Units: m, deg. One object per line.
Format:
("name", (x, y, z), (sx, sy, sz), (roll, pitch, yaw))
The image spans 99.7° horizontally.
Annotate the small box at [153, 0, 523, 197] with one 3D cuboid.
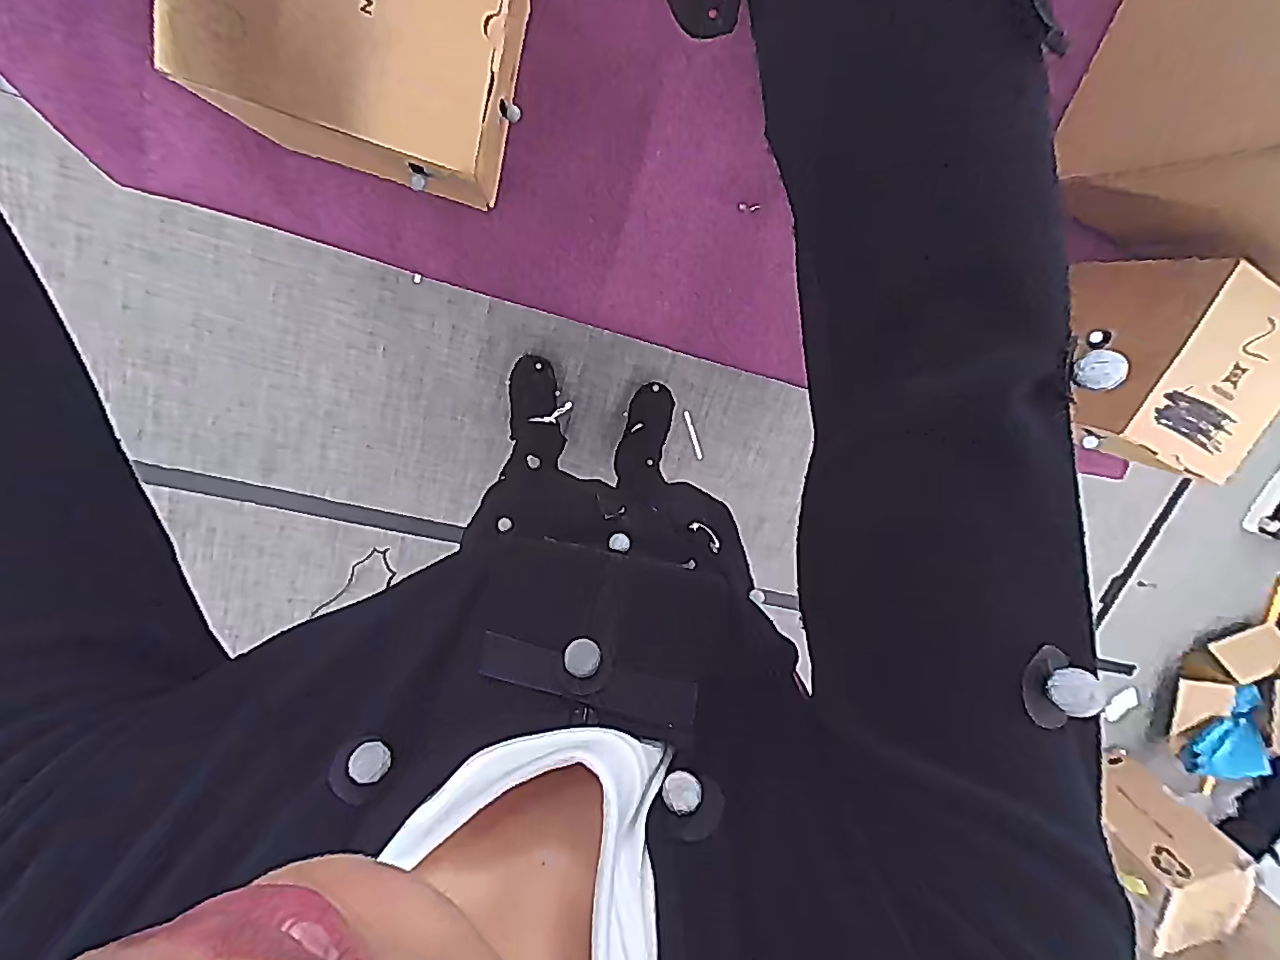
("small box", (-0.182, -0.315, 0.373), (0.179, 0.176, 0.168), (10, 107, -16))
